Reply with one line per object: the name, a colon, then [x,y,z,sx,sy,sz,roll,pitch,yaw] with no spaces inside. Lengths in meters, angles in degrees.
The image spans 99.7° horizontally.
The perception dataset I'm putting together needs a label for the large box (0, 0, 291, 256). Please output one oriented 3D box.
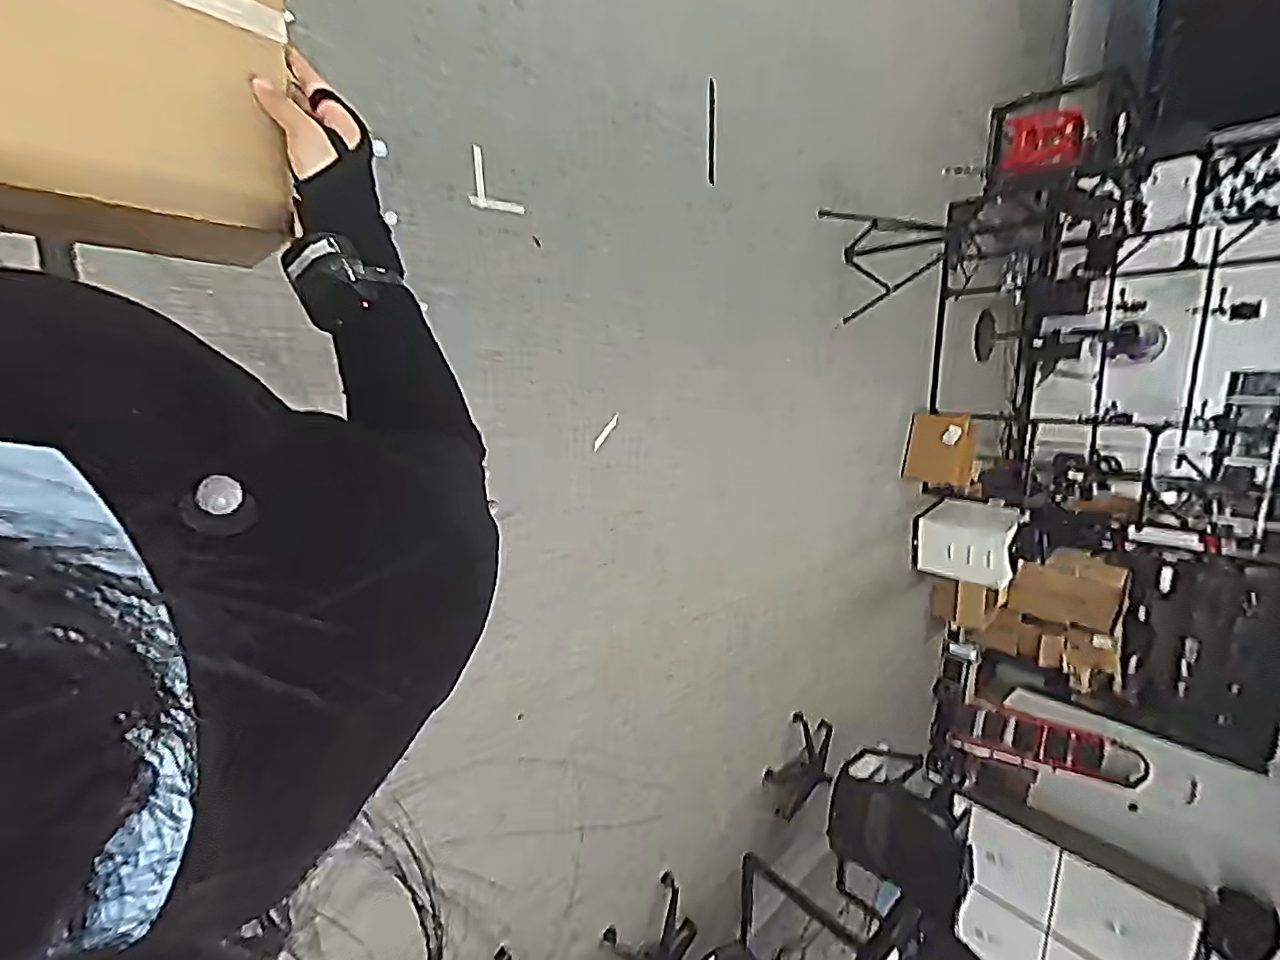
large box: [-0.548,-0.384,0.433,0.408,0.320,0.320,-6,105,-40]
